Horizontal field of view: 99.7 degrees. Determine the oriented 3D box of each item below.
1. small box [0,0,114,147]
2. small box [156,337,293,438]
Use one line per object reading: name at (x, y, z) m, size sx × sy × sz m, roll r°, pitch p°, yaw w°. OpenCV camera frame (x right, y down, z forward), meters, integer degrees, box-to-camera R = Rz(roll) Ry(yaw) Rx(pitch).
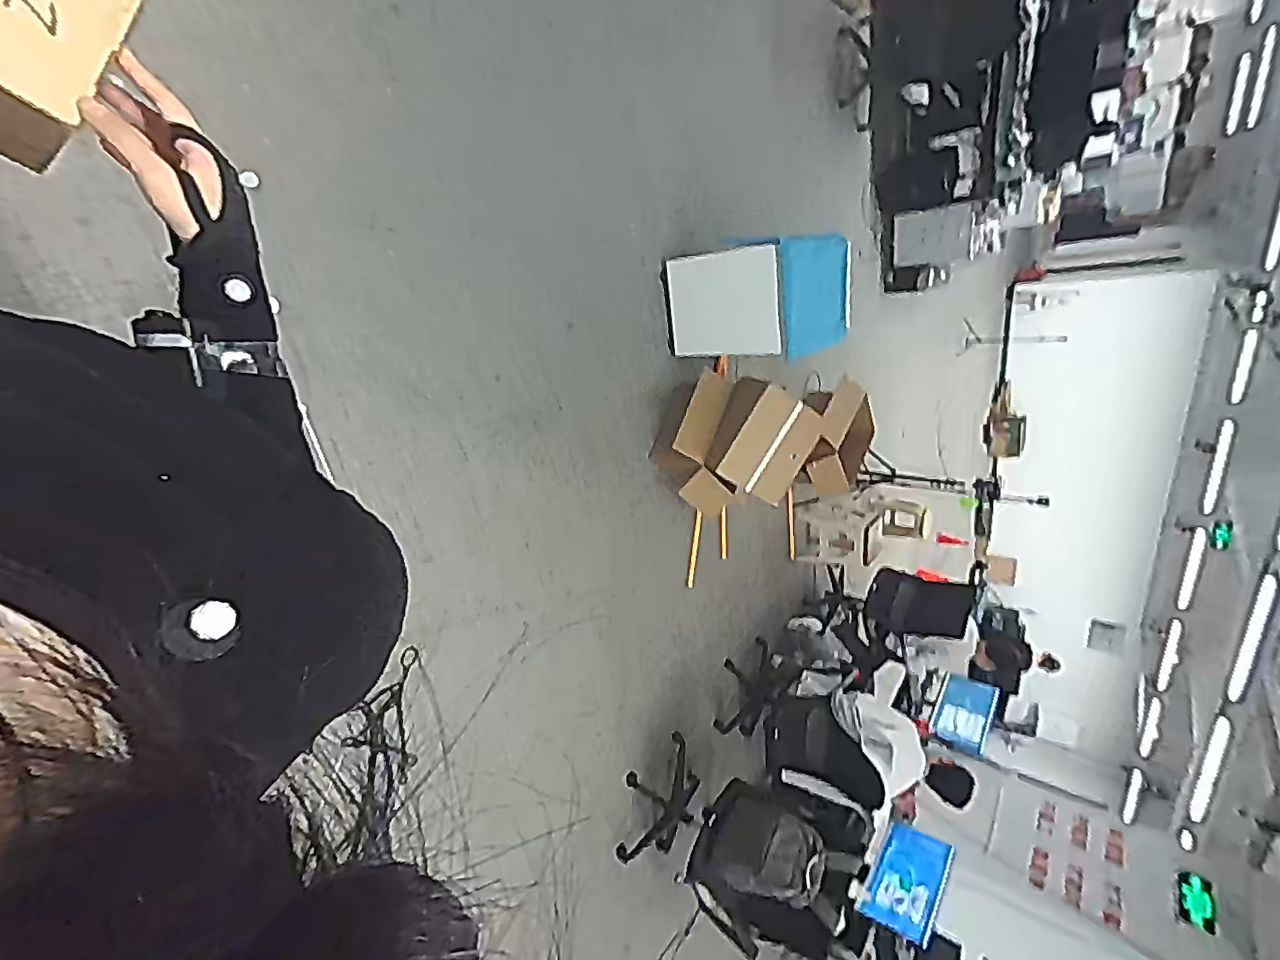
small box at (-0.449, -0.340, 0.324) m, size 0.179 × 0.176 × 0.168 m, roll 26°, pitch 78°, yaw -53°
small box at (-0.900, -0.201, 1.170) m, size 0.168 × 0.176 × 0.179 m, roll -32°, pitch 121°, yaw -41°
